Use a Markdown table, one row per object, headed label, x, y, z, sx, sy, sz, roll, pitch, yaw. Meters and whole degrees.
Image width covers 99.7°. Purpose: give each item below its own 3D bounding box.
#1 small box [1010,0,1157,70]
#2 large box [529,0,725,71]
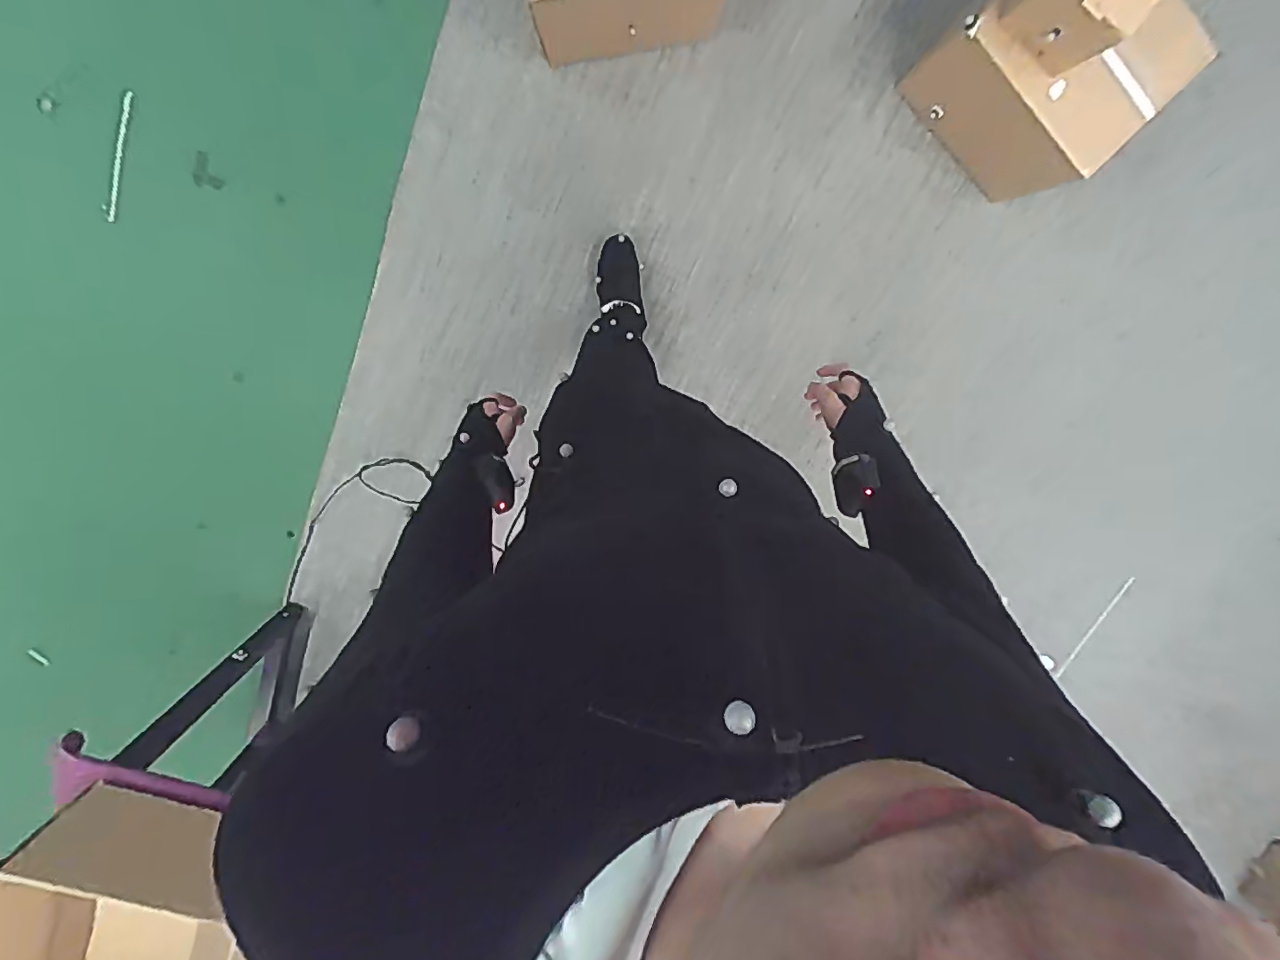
| label | x | y | z | sx | sy | sz | roll | pitch | yaw |
| --- | --- | --- | --- | --- | --- | --- | --- | --- | --- |
| small box | 0.806 | -0.883 | 0.956 | 0.168 | 0.176 | 0.179 | 33 | 106 | -11 |
| large box | -0.040 | -1.125 | 1.123 | 0.408 | 0.320 | 0.320 | -9 | 106 | 3 |
